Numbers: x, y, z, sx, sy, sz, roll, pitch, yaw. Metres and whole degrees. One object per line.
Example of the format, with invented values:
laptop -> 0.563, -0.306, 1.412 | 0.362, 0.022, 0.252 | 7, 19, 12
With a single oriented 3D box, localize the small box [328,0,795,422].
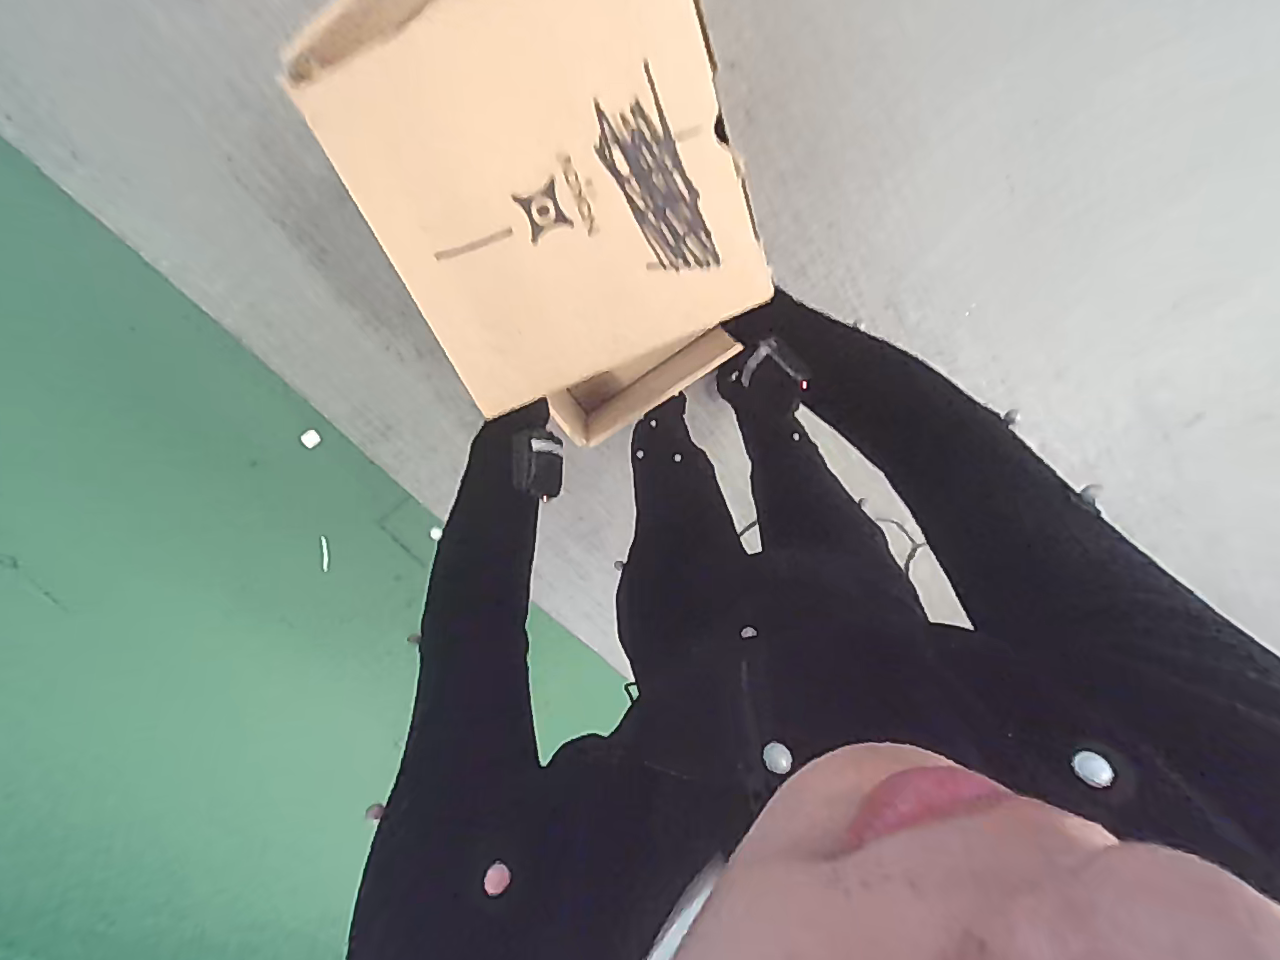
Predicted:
small box -> -0.033, -0.165, 0.324 | 0.179, 0.176, 0.168 | -21, 119, 5
